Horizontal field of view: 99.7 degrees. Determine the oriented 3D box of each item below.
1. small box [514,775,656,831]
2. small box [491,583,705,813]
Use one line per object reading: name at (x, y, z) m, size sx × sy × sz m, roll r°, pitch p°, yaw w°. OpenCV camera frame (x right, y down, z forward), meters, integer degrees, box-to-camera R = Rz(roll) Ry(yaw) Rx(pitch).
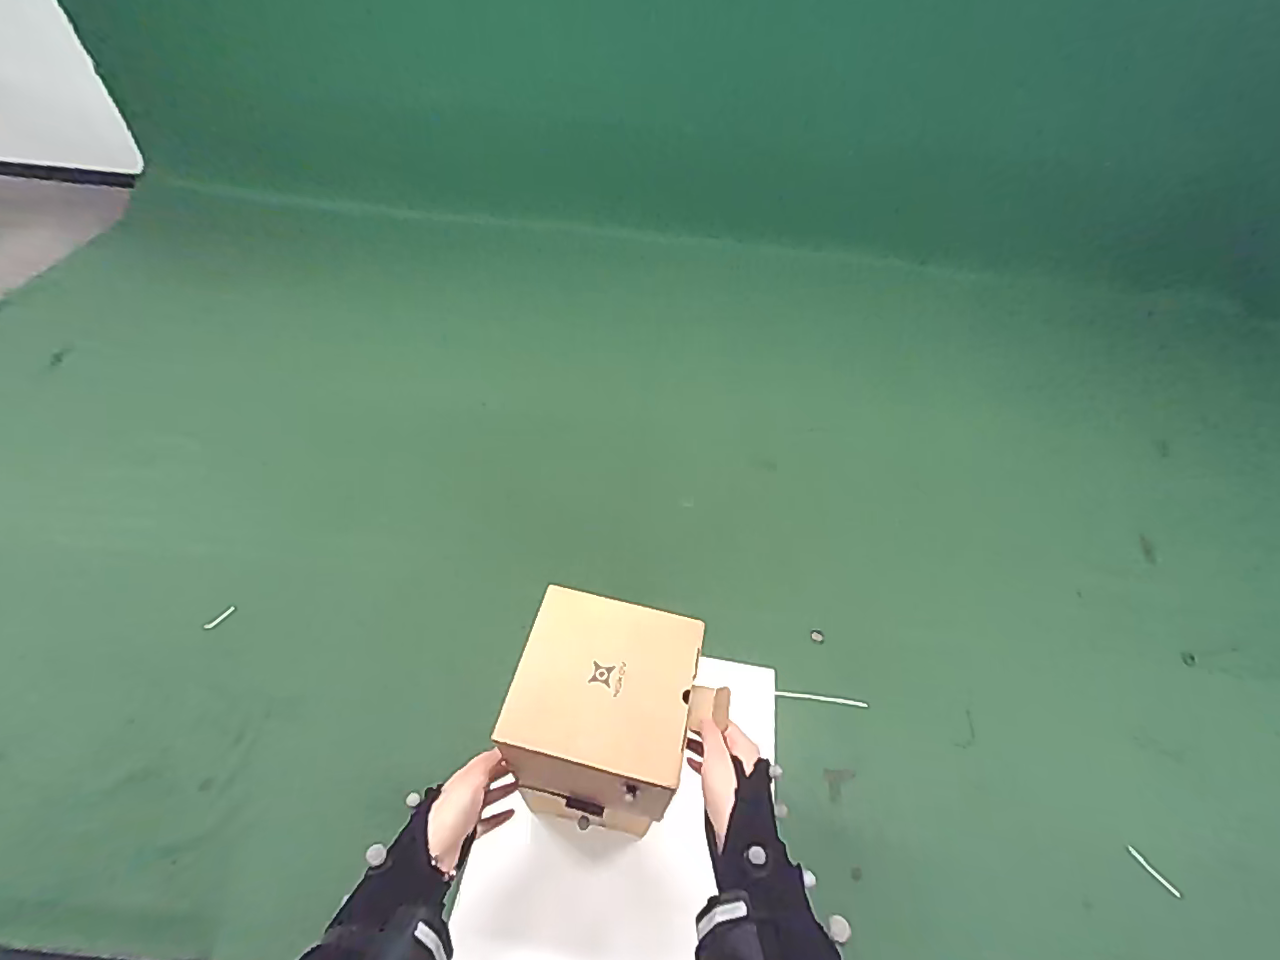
small box at (-0.051, 0.341, 0.711) m, size 0.168 × 0.176 × 0.179 m, roll 10°, pitch 51°, yaw 3°
small box at (-0.038, 0.239, 0.584) m, size 0.179 × 0.176 × 0.168 m, roll 12°, pitch 50°, yaw 5°
